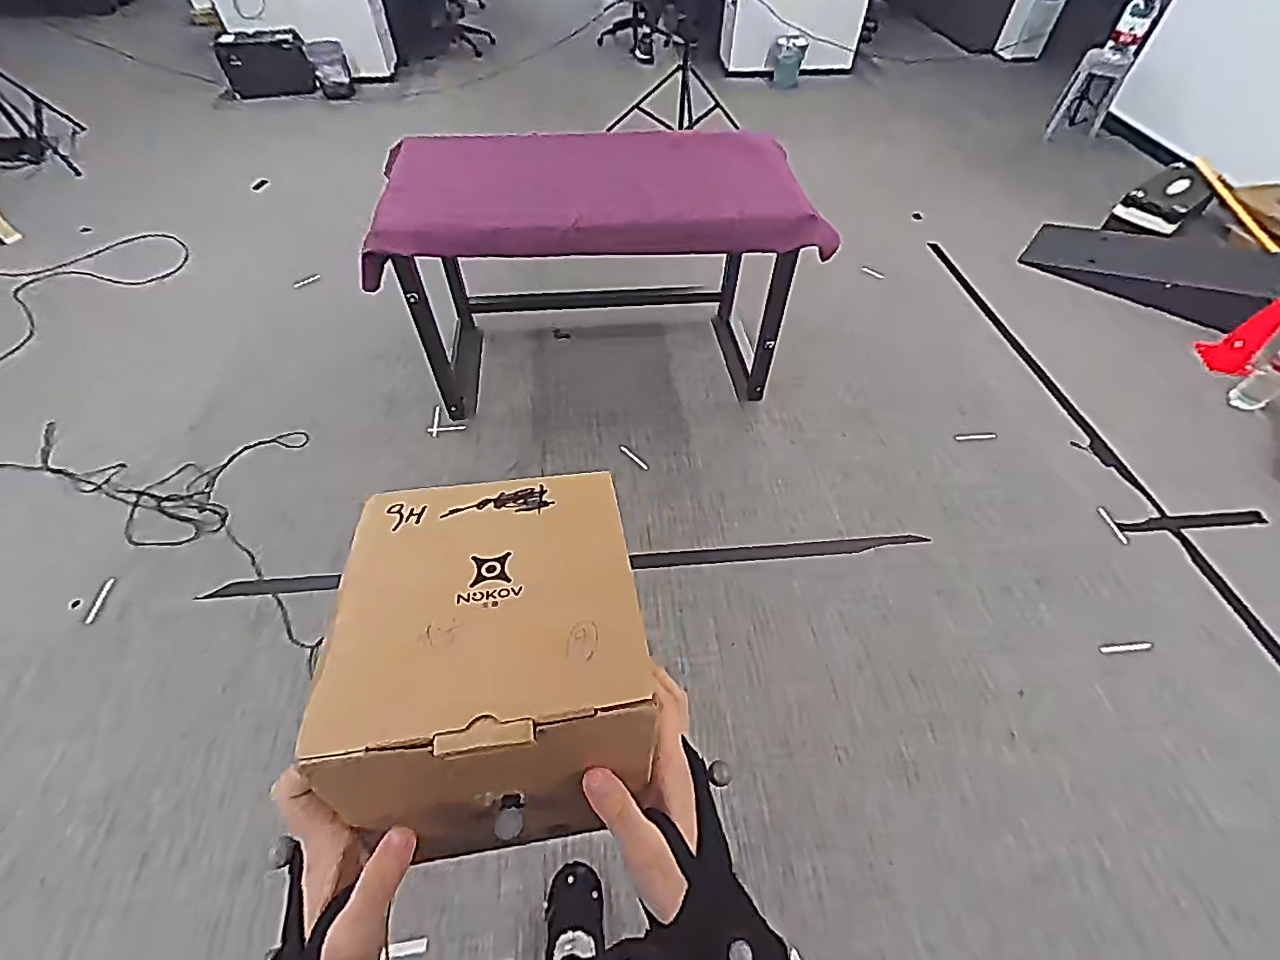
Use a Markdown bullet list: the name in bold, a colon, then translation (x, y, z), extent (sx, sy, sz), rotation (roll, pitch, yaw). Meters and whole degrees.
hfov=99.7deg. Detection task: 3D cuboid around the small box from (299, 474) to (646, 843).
- **small box**: translation (-0.089, 0.121, 0.367), extent (0.168, 0.176, 0.179), rotation (-5, 42, -8)
